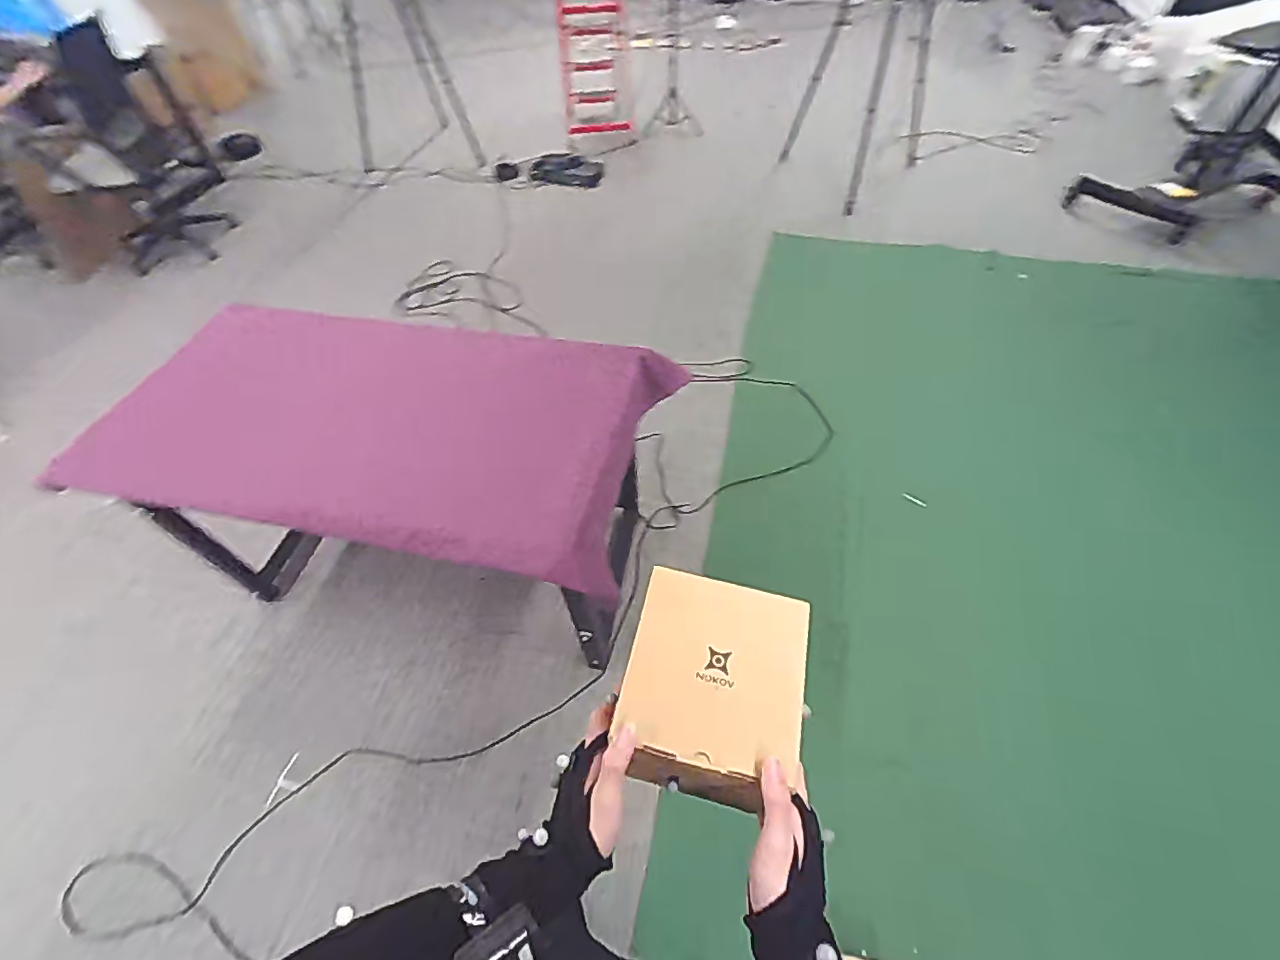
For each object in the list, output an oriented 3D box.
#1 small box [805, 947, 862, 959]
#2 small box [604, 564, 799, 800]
[{"bbox_3d":[0.429,1.063,1.081,0.179,0.176,0.168,9,53,8],"label":"small box"},{"bbox_3d":[0.060,0.219,0.576,0.168,0.176,0.179,12,55,5],"label":"small box"}]
